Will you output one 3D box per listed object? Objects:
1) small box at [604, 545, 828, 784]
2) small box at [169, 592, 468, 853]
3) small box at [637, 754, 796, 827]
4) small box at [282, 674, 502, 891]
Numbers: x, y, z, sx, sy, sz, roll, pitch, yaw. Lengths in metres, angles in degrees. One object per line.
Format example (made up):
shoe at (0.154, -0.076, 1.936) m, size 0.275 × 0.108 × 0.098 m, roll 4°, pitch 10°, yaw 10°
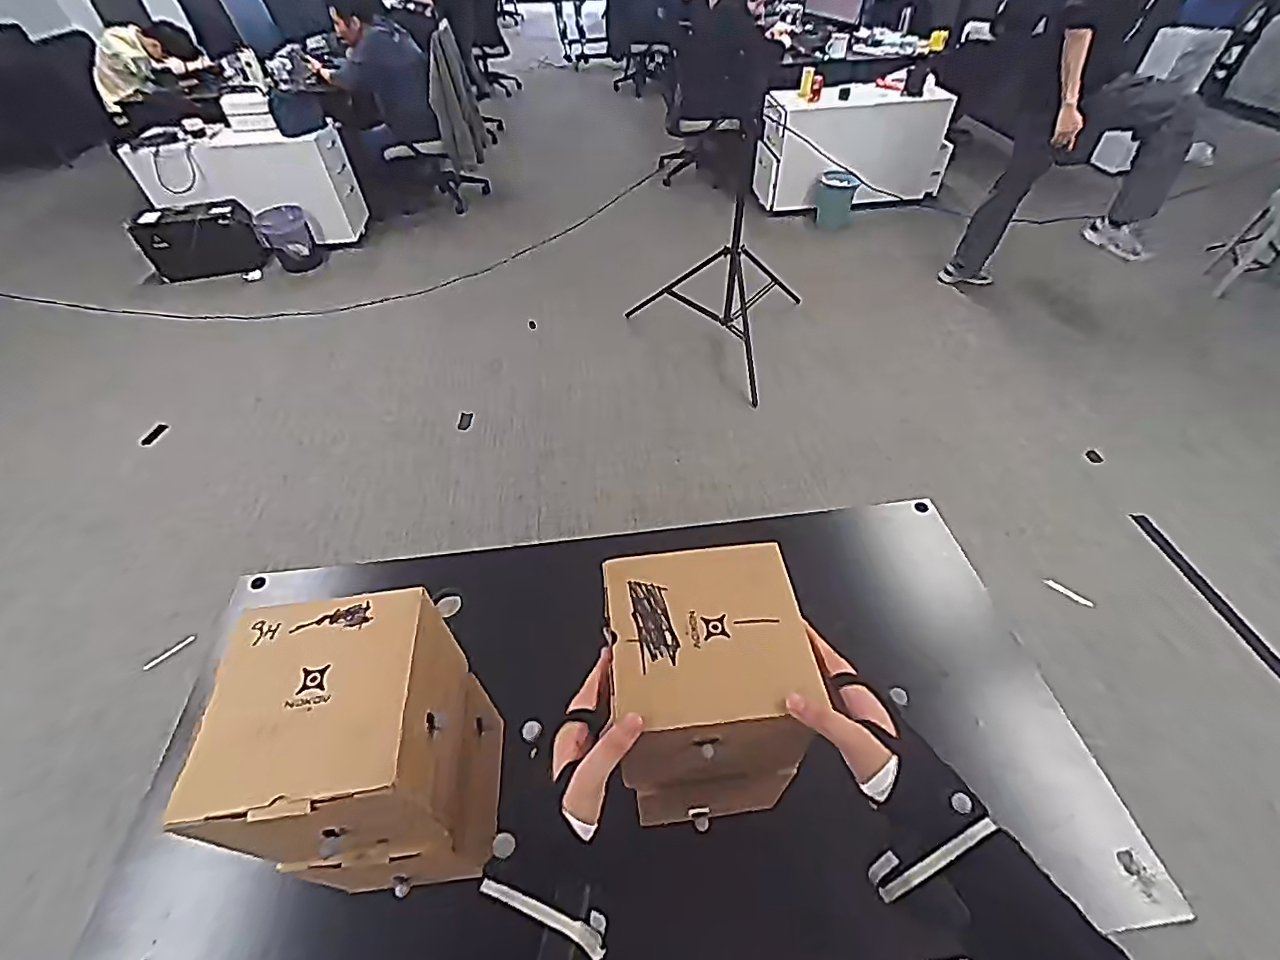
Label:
small box at (0.062, 0.187, 0.538) m, size 0.179 × 0.176 × 0.168 m, roll -5°, pitch 48°, yaw -2°
small box at (-0.268, 0.231, 0.506) m, size 0.168 × 0.176 × 0.179 m, roll -7°, pitch 48°, yaw -5°
small box at (0.071, 0.297, 0.660) m, size 0.168 × 0.176 × 0.179 m, roll -8°, pitch 49°, yaw -3°
small box at (-0.260, 0.348, 0.622) m, size 0.168 × 0.176 × 0.179 m, roll -5°, pitch 48°, yaw -2°
